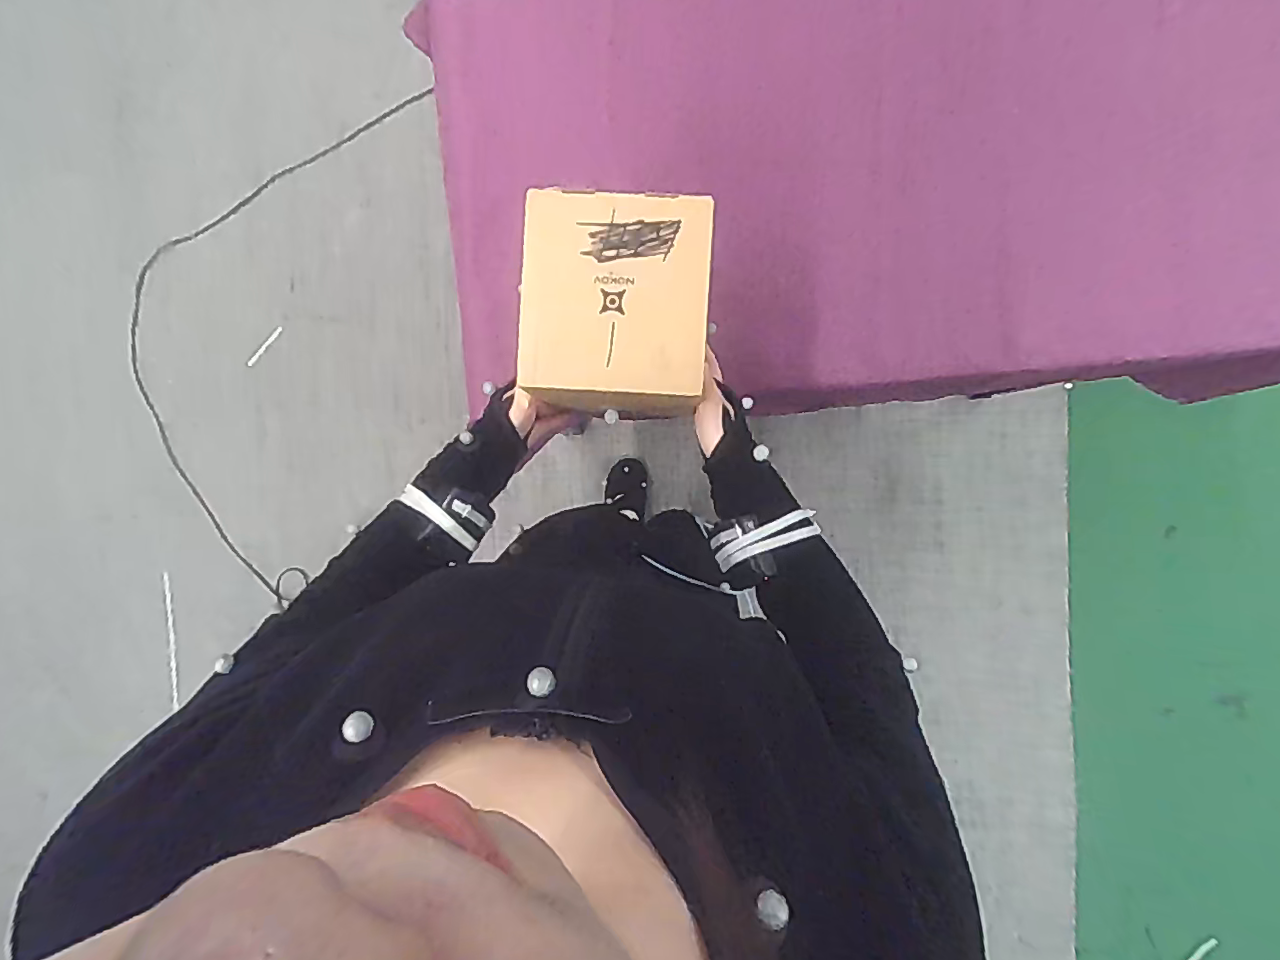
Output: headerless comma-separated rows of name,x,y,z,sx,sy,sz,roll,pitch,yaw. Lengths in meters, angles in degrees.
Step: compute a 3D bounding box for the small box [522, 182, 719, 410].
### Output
small box,-0.016,-0.172,0.556,0.168,0.176,0.179,4,92,2
